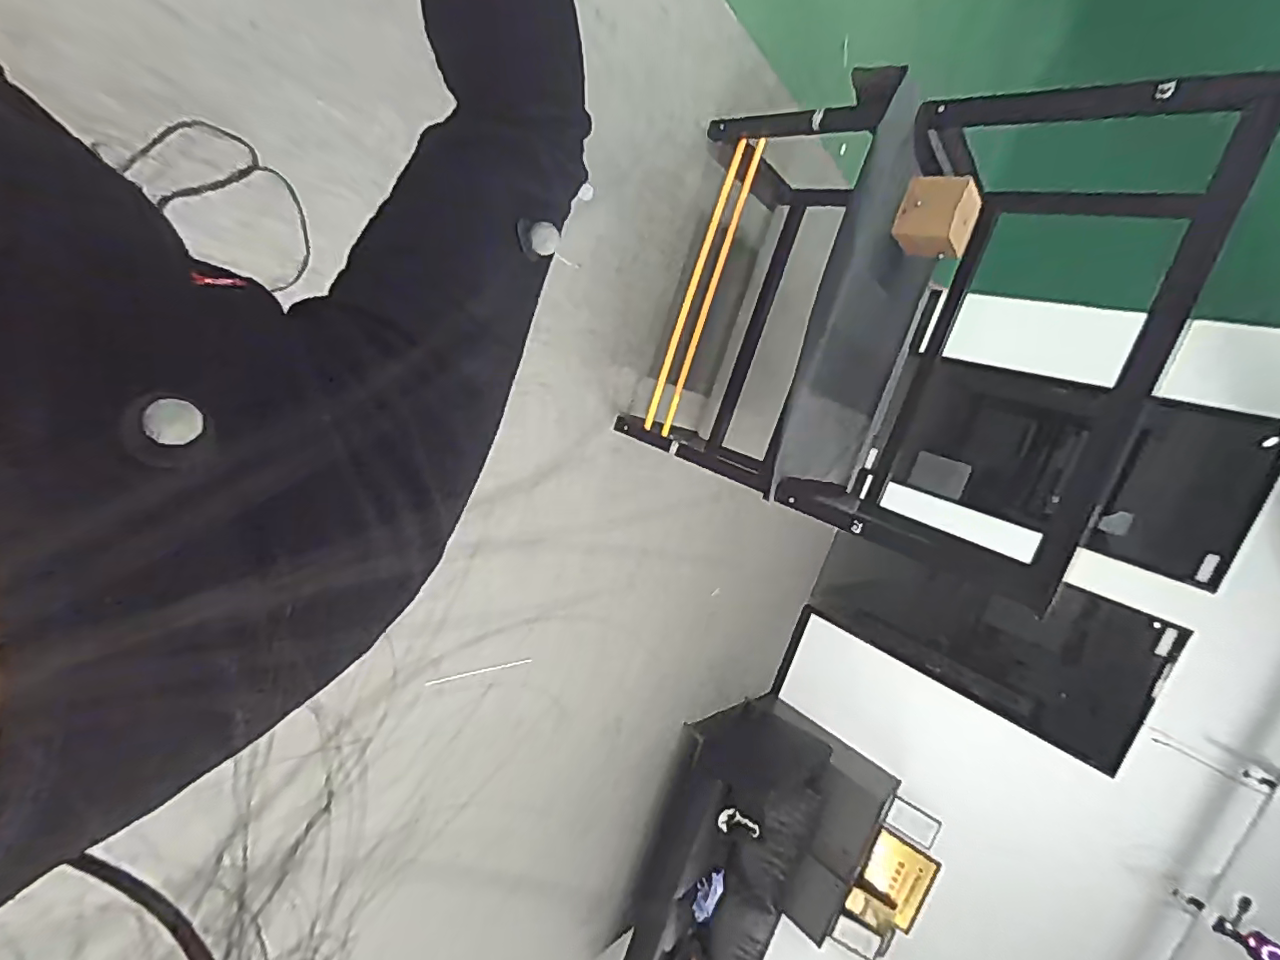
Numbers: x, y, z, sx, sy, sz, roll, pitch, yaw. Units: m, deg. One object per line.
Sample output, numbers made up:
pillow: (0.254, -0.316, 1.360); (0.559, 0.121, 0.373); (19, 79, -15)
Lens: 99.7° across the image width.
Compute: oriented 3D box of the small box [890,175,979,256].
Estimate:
small box: (0.884, -0.798, 1.628); (0.179, 0.176, 0.168); (6, 106, -50)
